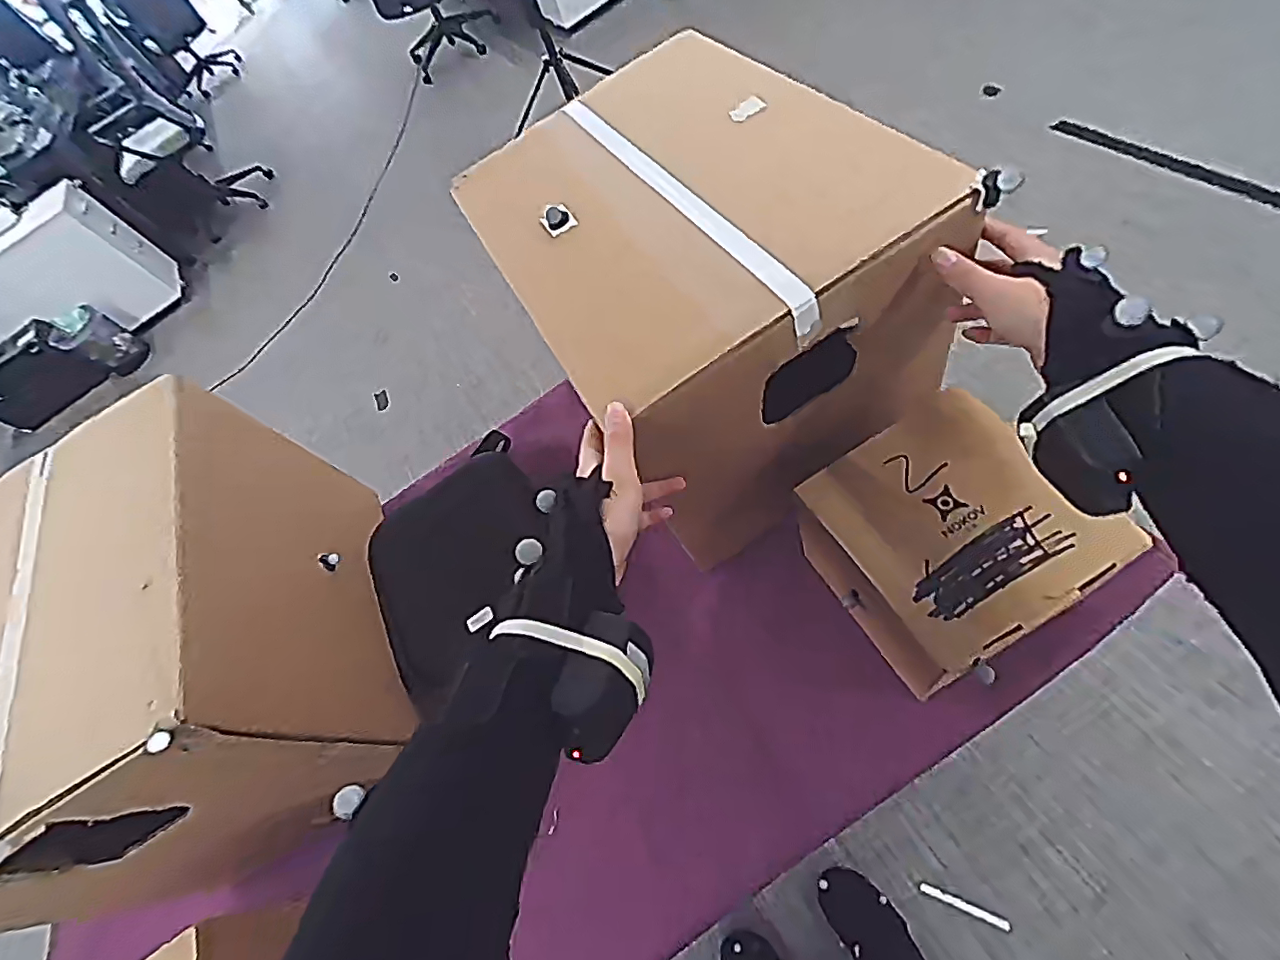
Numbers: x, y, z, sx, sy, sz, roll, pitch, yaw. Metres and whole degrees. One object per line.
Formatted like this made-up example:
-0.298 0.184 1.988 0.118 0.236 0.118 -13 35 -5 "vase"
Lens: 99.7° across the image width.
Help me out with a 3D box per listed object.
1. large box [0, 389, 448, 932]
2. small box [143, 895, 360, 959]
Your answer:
-0.484 0.183 0.613 0.320 0.320 0.408 -34 59 1 "large box"
-0.374 0.512 0.476 0.179 0.176 0.168 -36 55 -2 "small box"
